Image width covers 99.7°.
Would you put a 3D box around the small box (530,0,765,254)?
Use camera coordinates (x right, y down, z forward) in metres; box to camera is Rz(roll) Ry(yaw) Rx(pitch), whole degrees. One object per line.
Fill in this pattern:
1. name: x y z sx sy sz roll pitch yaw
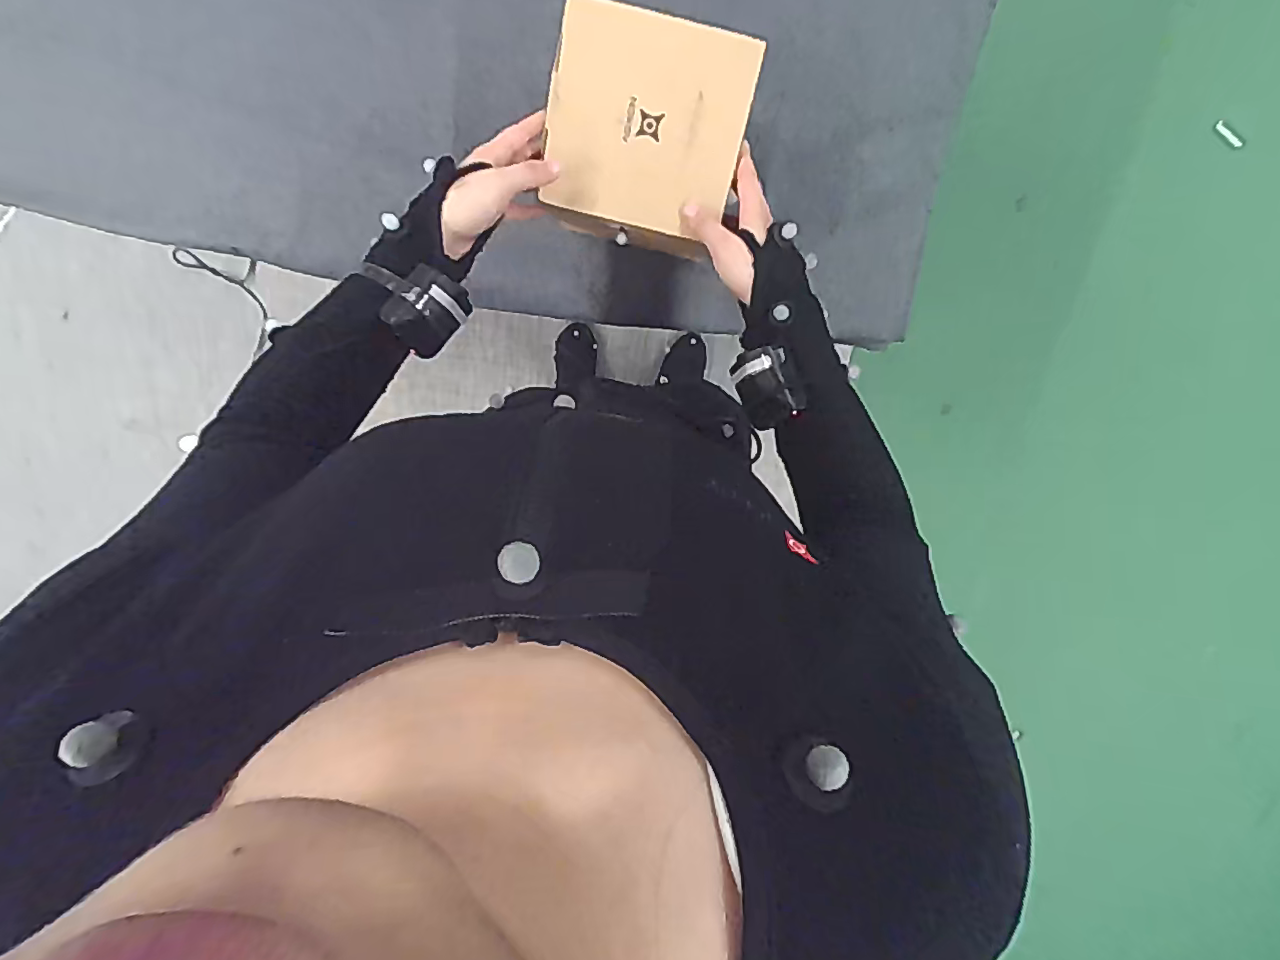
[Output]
1. small box: 0.006 -0.334 0.544 0.179 0.176 0.168 13 108 -2
